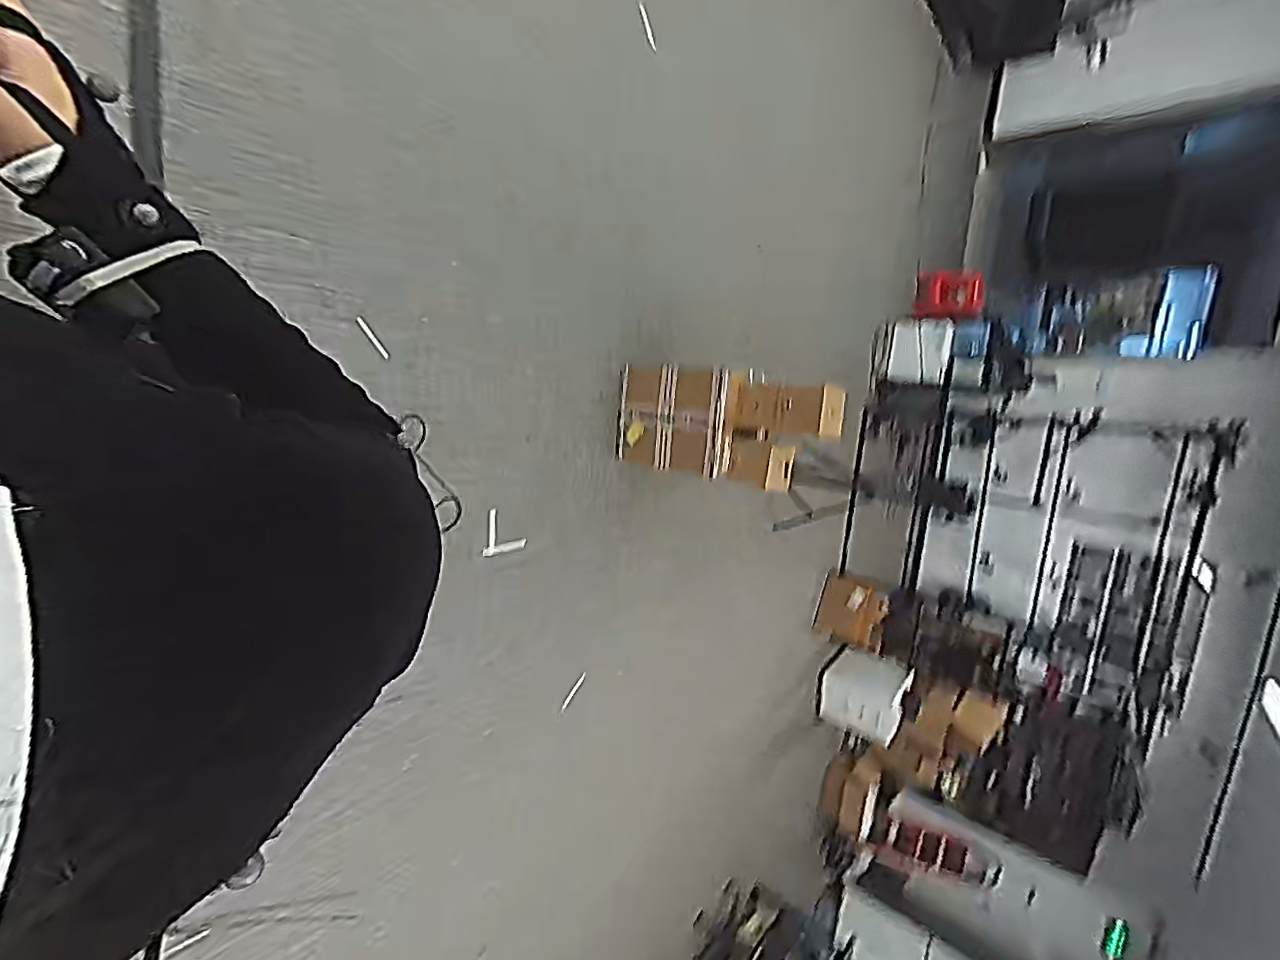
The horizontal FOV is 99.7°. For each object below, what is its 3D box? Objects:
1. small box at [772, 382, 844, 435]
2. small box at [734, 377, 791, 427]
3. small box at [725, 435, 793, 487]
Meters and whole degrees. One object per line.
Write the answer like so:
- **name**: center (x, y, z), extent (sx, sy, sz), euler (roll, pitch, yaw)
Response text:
- **small box**: center (0.576, -0.246, 1.859), extent (0.179, 0.176, 0.168), euler (-1, 98, -47)
- **small box**: center (0.462, -0.280, 1.971), extent (0.179, 0.176, 0.168), euler (0, 98, -47)
- **small box**: center (0.438, -0.073, 1.997), extent (0.179, 0.176, 0.168), euler (-2, 102, -47)
